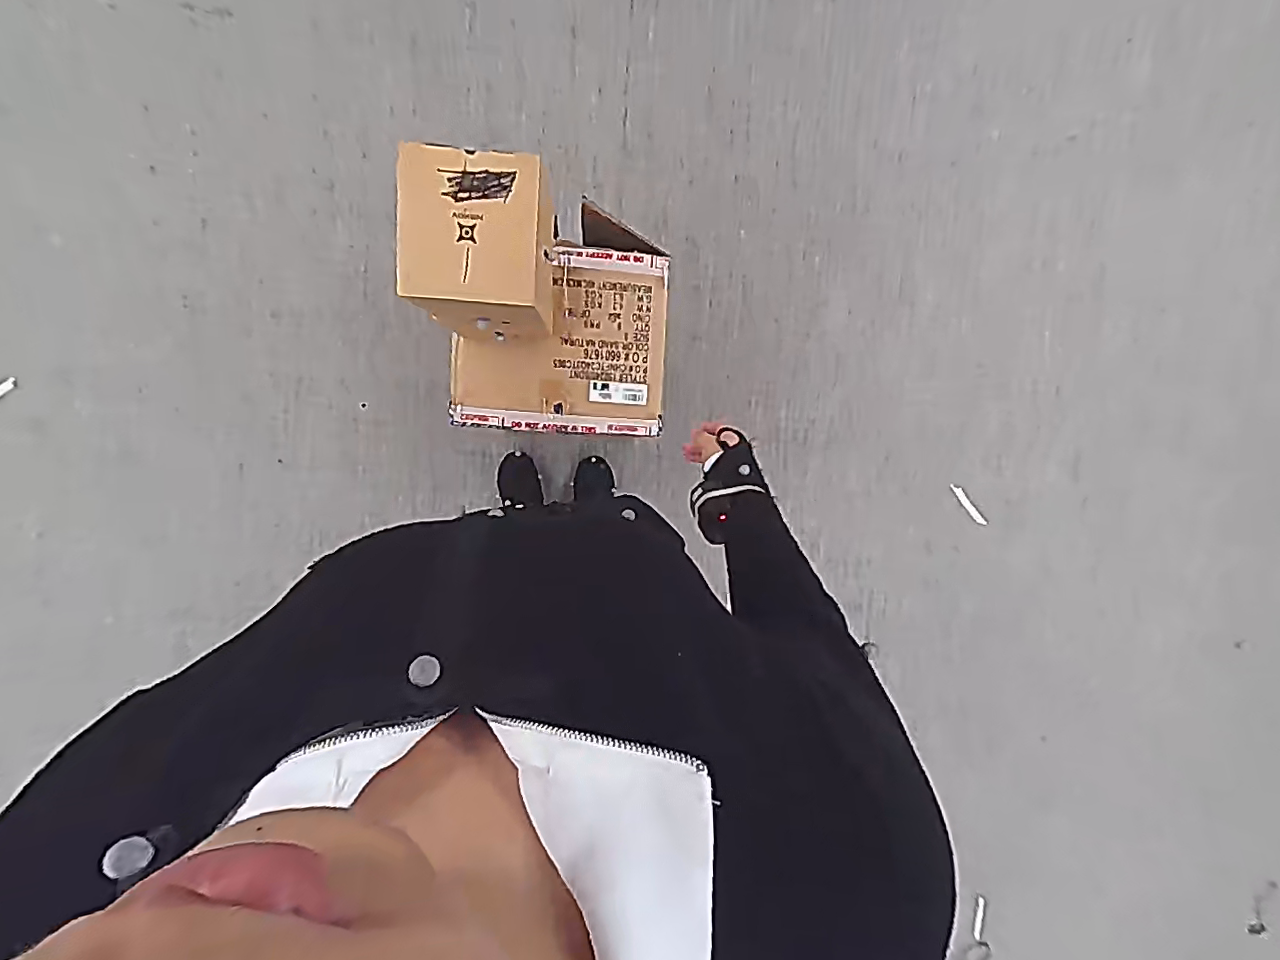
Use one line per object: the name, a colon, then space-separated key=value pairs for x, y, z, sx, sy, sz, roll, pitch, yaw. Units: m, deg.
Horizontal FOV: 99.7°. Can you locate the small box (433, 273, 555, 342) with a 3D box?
small box: x=-0.230 y=-0.328 z=0.880 sx=0.168 sy=0.176 sz=0.179 roll=0 pitch=97 yaw=-3

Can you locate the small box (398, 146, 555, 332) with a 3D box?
small box: x=-0.205 y=-0.305 z=0.718 sx=0.168 sy=0.176 sz=0.179 roll=4 pitch=97 yaw=-4
